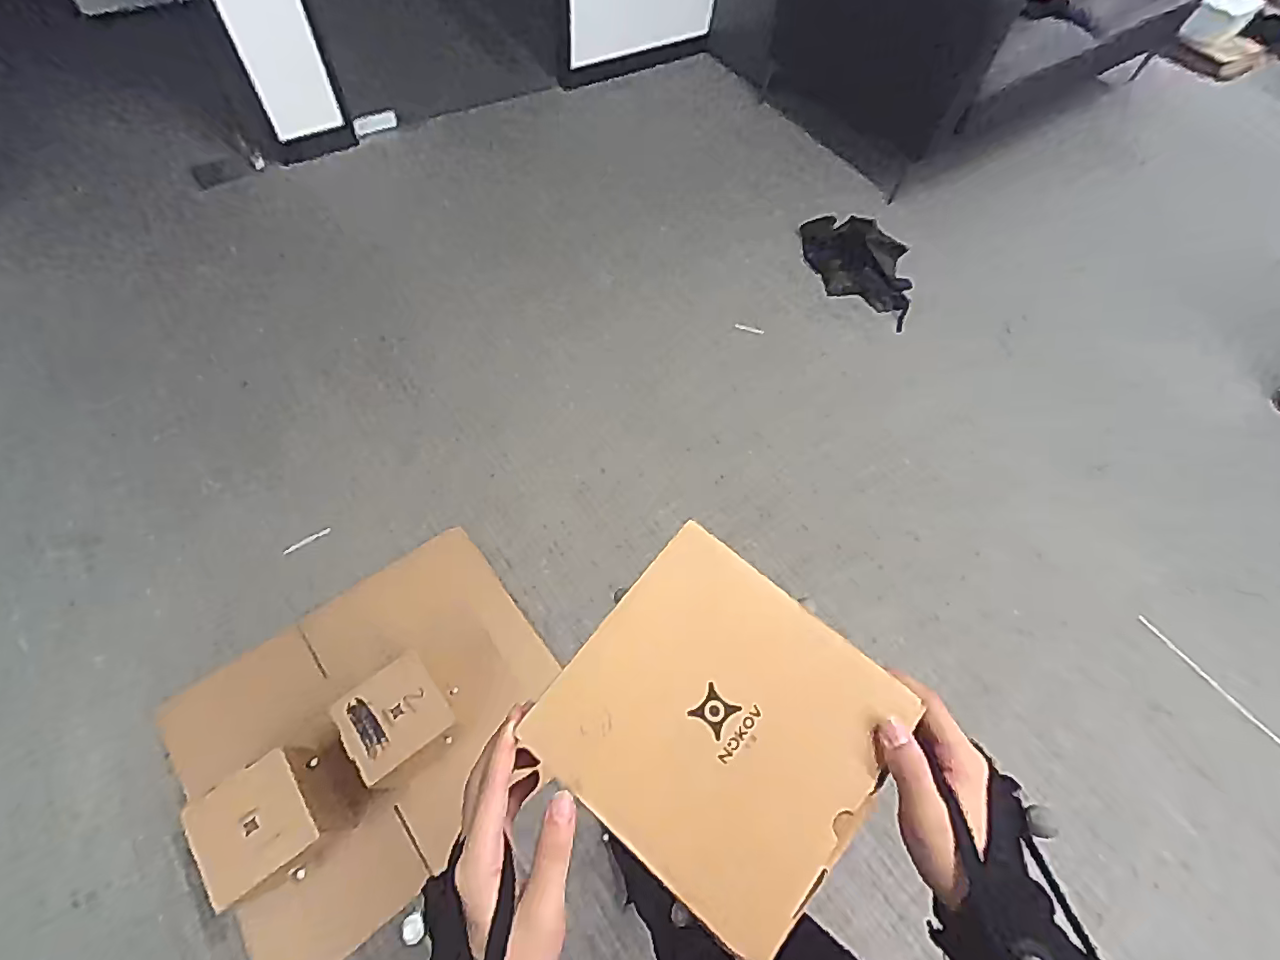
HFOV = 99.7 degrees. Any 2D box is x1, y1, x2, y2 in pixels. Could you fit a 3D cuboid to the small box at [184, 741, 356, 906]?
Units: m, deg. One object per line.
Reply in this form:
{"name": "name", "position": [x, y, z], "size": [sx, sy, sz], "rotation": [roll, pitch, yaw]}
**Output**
{"name": "small box", "position": [-0.642, 0.595, 0.957], "size": [0.168, 0.176, 0.179], "rotation": [-34, 71, -20]}

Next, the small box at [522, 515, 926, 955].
{"name": "small box", "position": [0.048, 0.158, 0.383], "size": [0.179, 0.176, 0.168], "rotation": [38, 75, 13]}
